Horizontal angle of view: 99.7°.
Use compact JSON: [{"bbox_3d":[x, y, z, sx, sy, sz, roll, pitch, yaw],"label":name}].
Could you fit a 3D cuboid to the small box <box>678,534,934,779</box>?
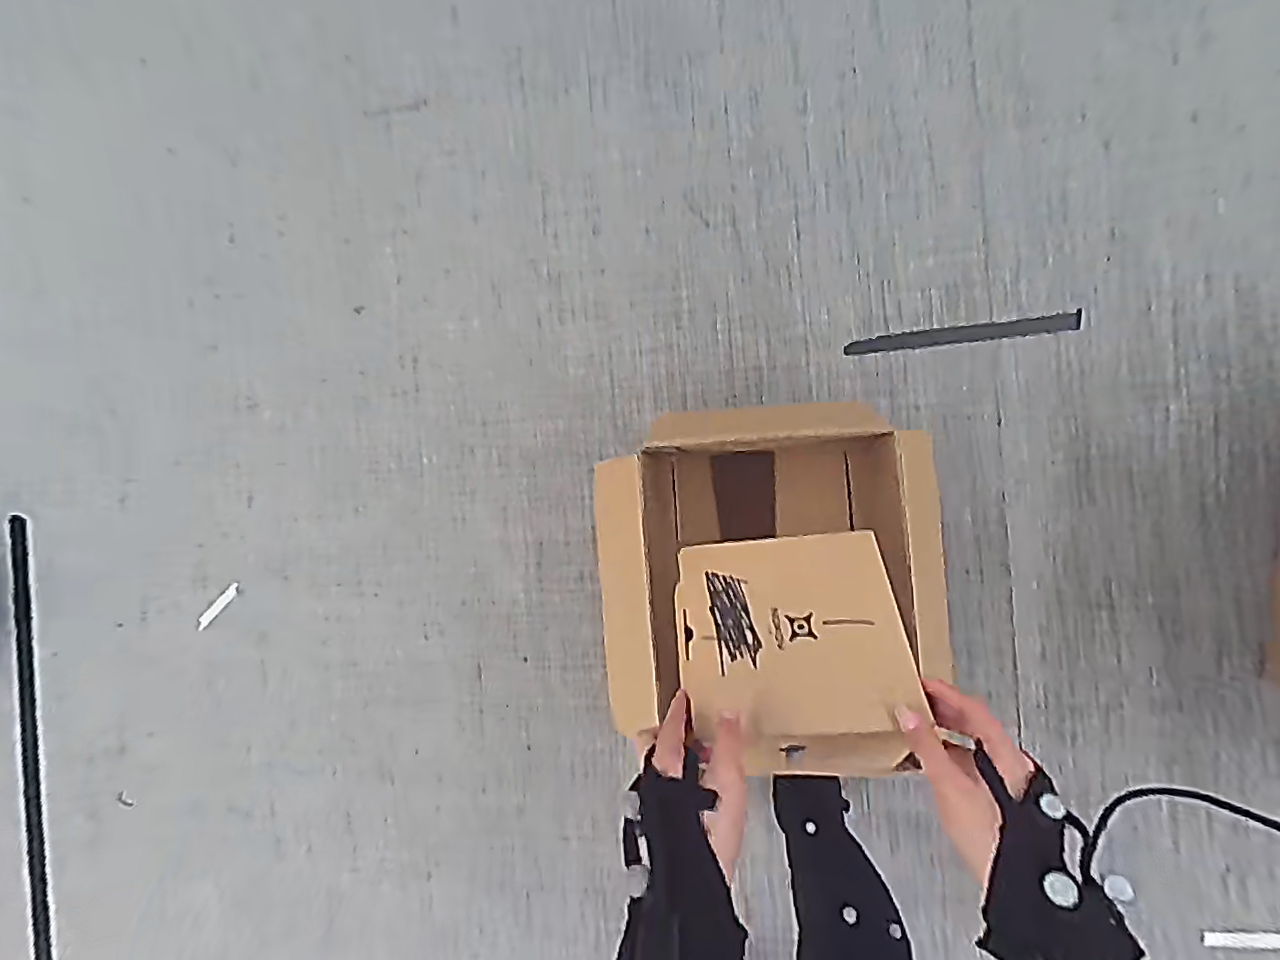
[{"bbox_3d":[0.135,0.169,0.498,0.179,0.176,0.168,-7,53,7],"label":"small box"}]
